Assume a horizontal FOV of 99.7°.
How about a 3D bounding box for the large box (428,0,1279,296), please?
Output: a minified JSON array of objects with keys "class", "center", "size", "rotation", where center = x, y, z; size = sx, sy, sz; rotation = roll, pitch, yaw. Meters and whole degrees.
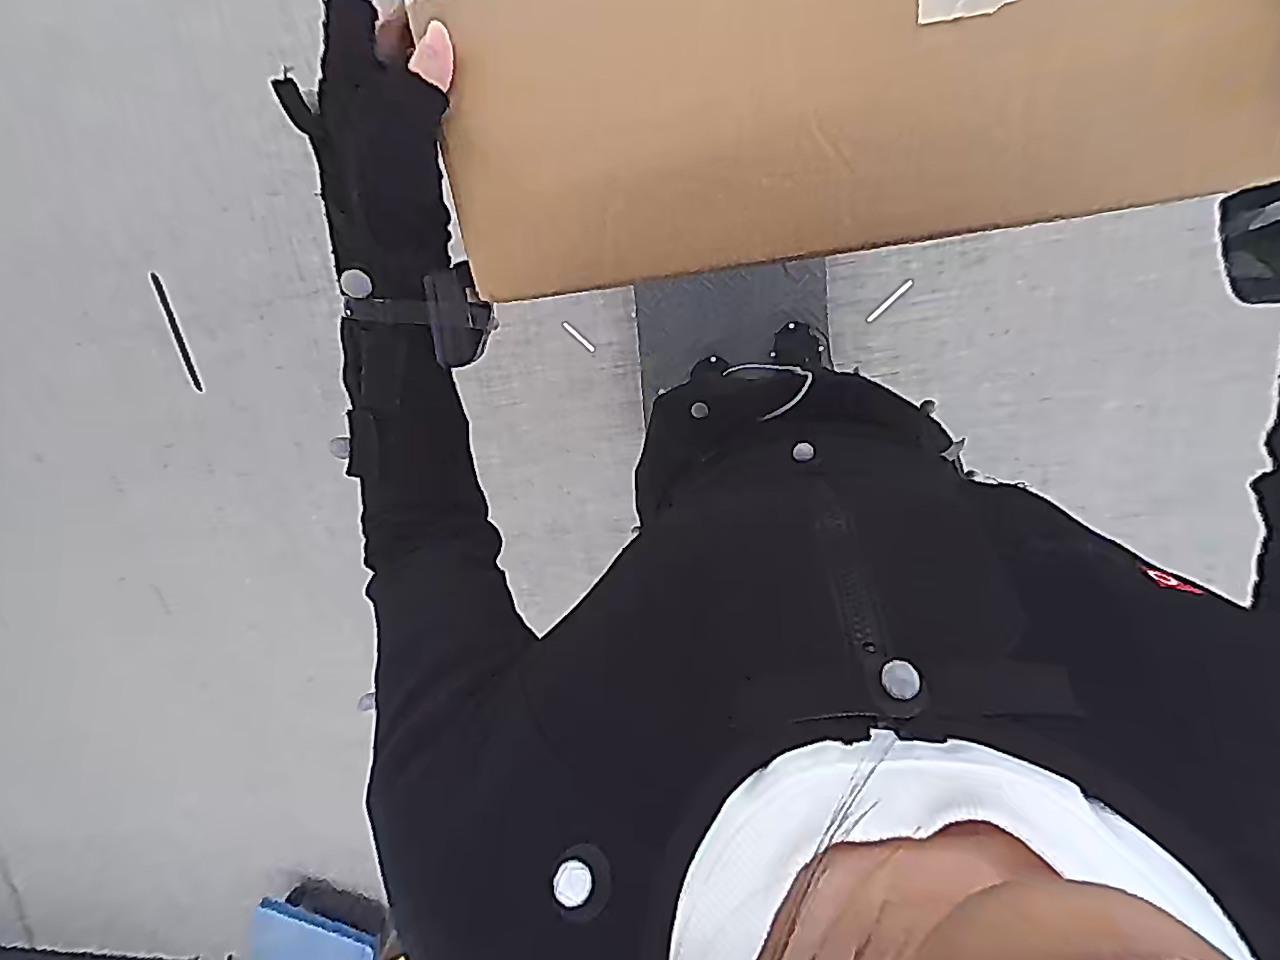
[{"class":"large box","center":[0.099,-0.328,0.386],"size":[0.408,0.320,0.320],"rotation":[-5,111,10]}]
